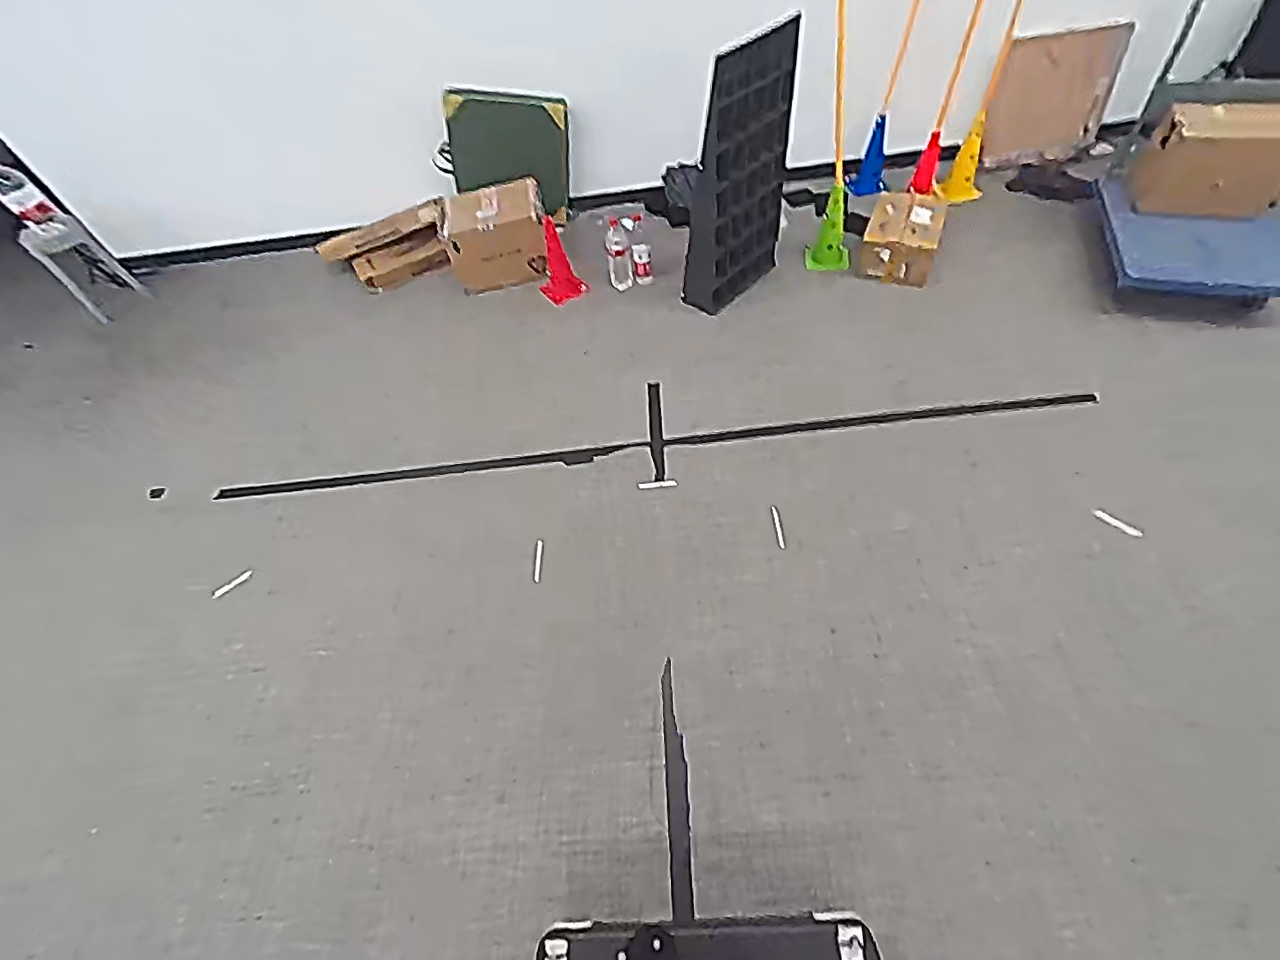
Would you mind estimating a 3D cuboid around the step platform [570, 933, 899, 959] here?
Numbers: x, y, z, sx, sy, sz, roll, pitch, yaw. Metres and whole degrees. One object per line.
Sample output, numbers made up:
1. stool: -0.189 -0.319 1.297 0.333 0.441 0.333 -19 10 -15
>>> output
1. step platform: 0.184 1.051 1.009 0.684 0.204 0.286 -2 51 6
